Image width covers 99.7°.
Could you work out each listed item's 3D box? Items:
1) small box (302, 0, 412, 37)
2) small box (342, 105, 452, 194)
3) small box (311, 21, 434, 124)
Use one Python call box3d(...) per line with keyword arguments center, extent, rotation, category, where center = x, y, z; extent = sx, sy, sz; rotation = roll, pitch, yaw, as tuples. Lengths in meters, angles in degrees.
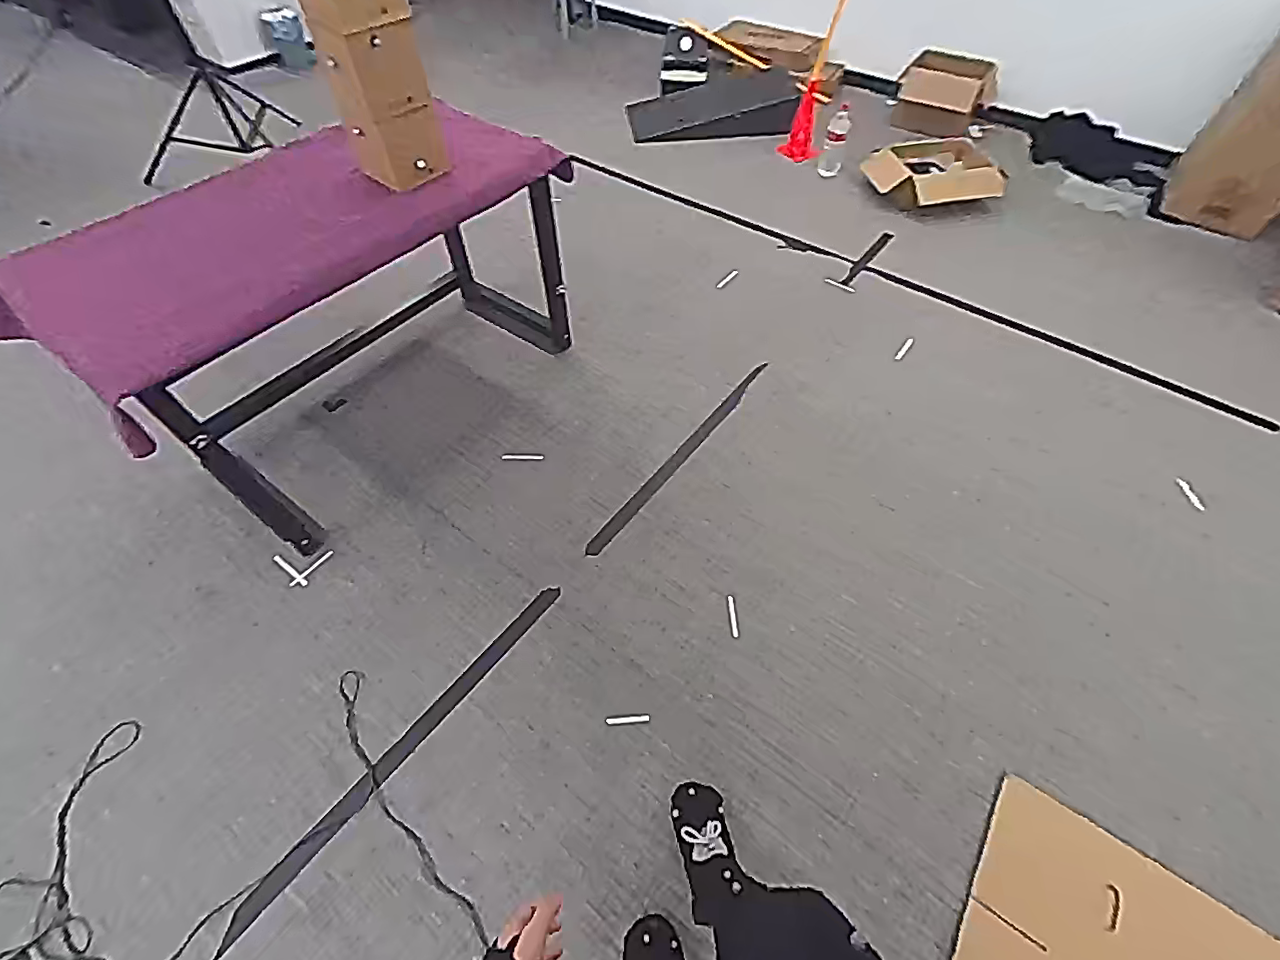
box3d(center=(-0.613, -1.059, 1.132), extent=(0.179, 0.176, 0.168), rotation=(37, 63, 23), category="small box")
box3d(center=(-0.623, -0.876, 1.404), extent=(0.179, 0.176, 0.168), rotation=(35, 62, 22), category="small box")
box3d(center=(-0.619, -0.968, 1.268), extent=(0.179, 0.176, 0.168), rotation=(37, 63, 24), category="small box")
